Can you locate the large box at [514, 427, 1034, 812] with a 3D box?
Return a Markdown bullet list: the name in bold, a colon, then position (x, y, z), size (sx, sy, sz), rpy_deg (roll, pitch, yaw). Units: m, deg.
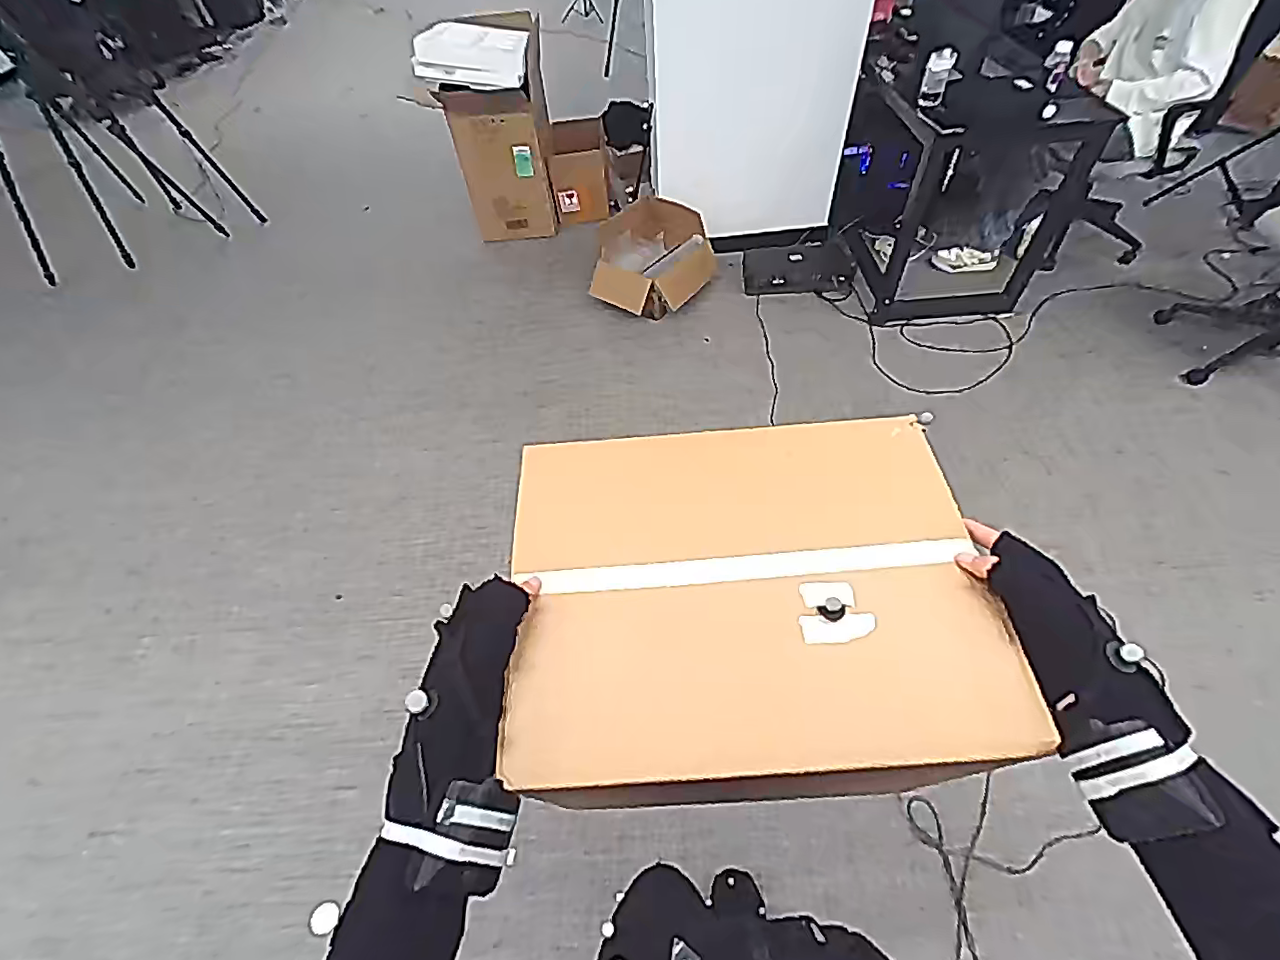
- **large box**: position (0.098, 0.170, 0.611), size (0.408, 0.320, 0.320), rpy_deg (-5, 56, 1)
